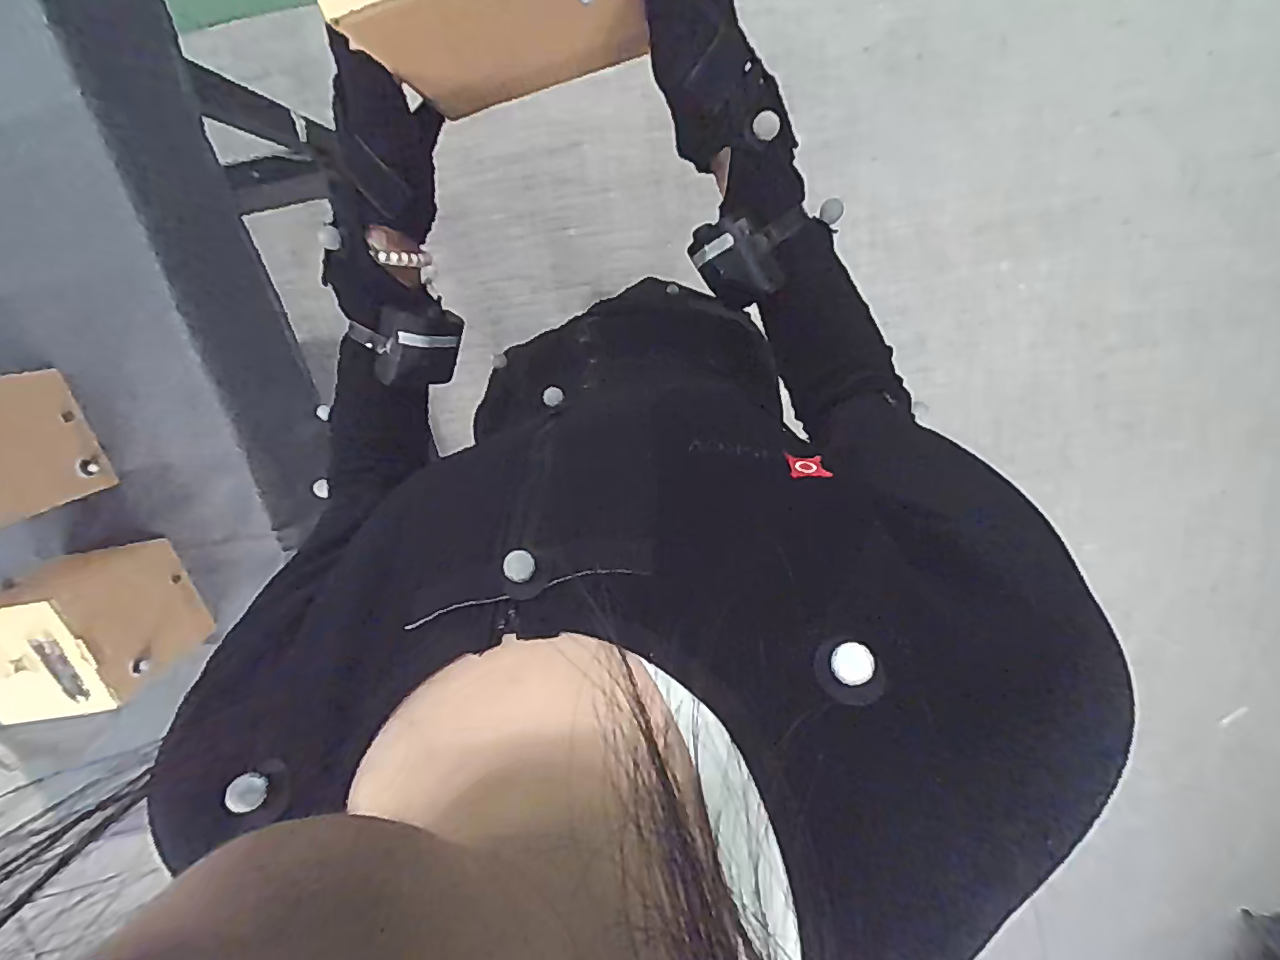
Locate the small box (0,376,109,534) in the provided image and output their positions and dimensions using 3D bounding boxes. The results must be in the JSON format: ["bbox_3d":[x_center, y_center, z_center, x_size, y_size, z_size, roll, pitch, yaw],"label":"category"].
[{"bbox_3d":[-0.833,-0.026,0.674,0.179,0.176,0.168,-9,109,6],"label":"small box"}]

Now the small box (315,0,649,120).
[{"bbox_3d":[-0.098,-0.352,0.326,0.179,0.176,0.168,-14,107,6],"label":"small box"}]
